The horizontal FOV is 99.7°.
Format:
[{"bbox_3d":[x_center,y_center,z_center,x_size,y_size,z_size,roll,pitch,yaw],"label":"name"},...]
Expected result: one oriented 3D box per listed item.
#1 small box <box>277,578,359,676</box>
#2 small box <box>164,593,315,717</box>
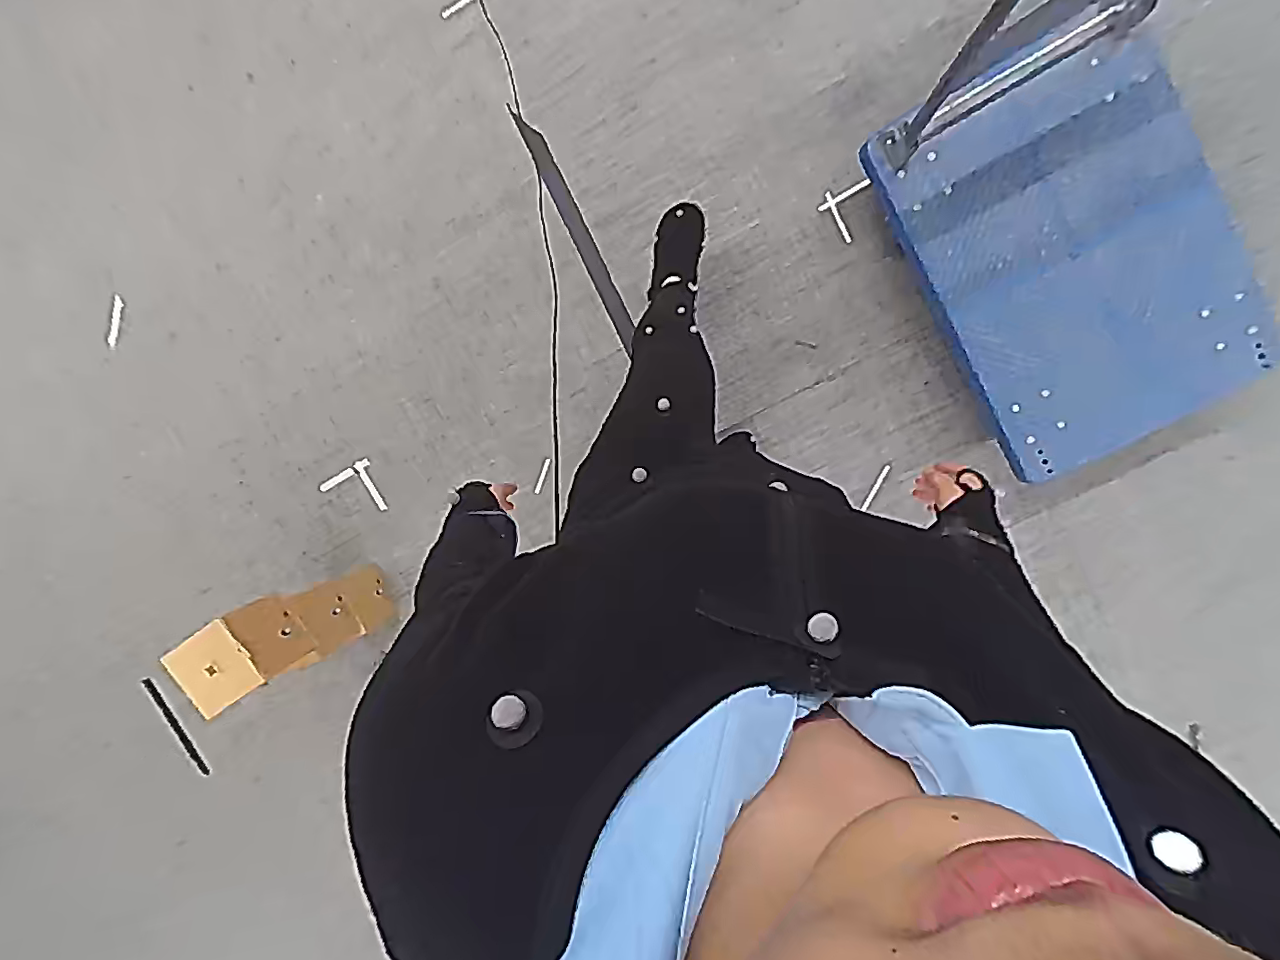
[{"bbox_3d":[-0.861,0.372,1.369,0.179,0.176,0.168,-22,96,7],"label":"small box"},{"bbox_3d":[-0.881,0.382,1.207,0.179,0.176,0.168,-34,94,8],"label":"small box"}]
